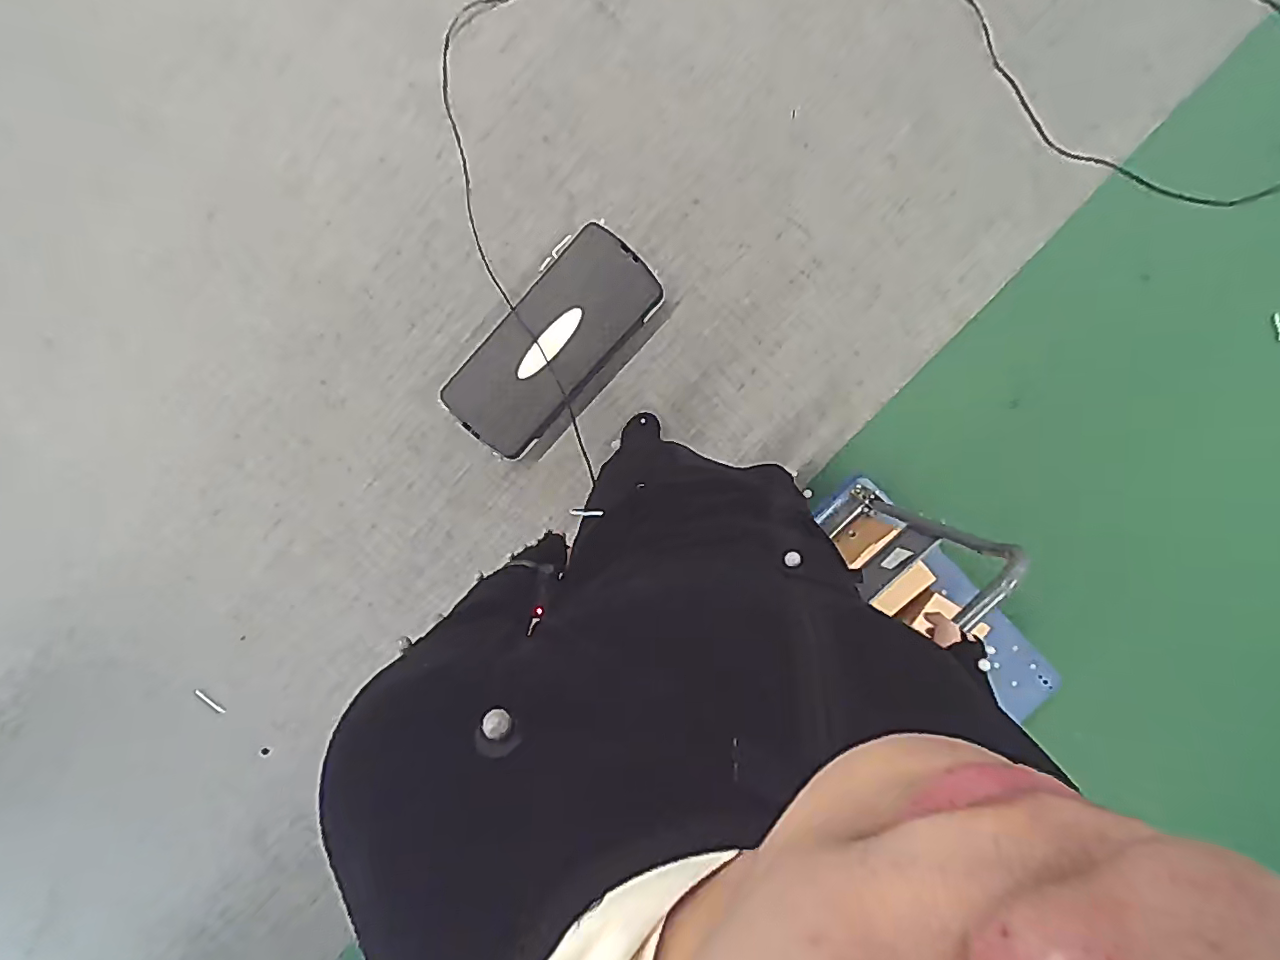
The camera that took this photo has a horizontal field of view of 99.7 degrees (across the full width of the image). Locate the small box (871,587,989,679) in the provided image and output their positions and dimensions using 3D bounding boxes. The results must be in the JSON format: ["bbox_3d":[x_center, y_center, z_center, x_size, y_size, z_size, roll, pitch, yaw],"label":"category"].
[{"bbox_3d":[0.742,0.374,1.409,0.179,0.176,0.168,32,97,-6],"label":"small box"}]

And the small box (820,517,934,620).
[{"bbox_3d":[0.597,0.218,1.384,0.168,0.176,0.179,-42,97,5],"label":"small box"}]
